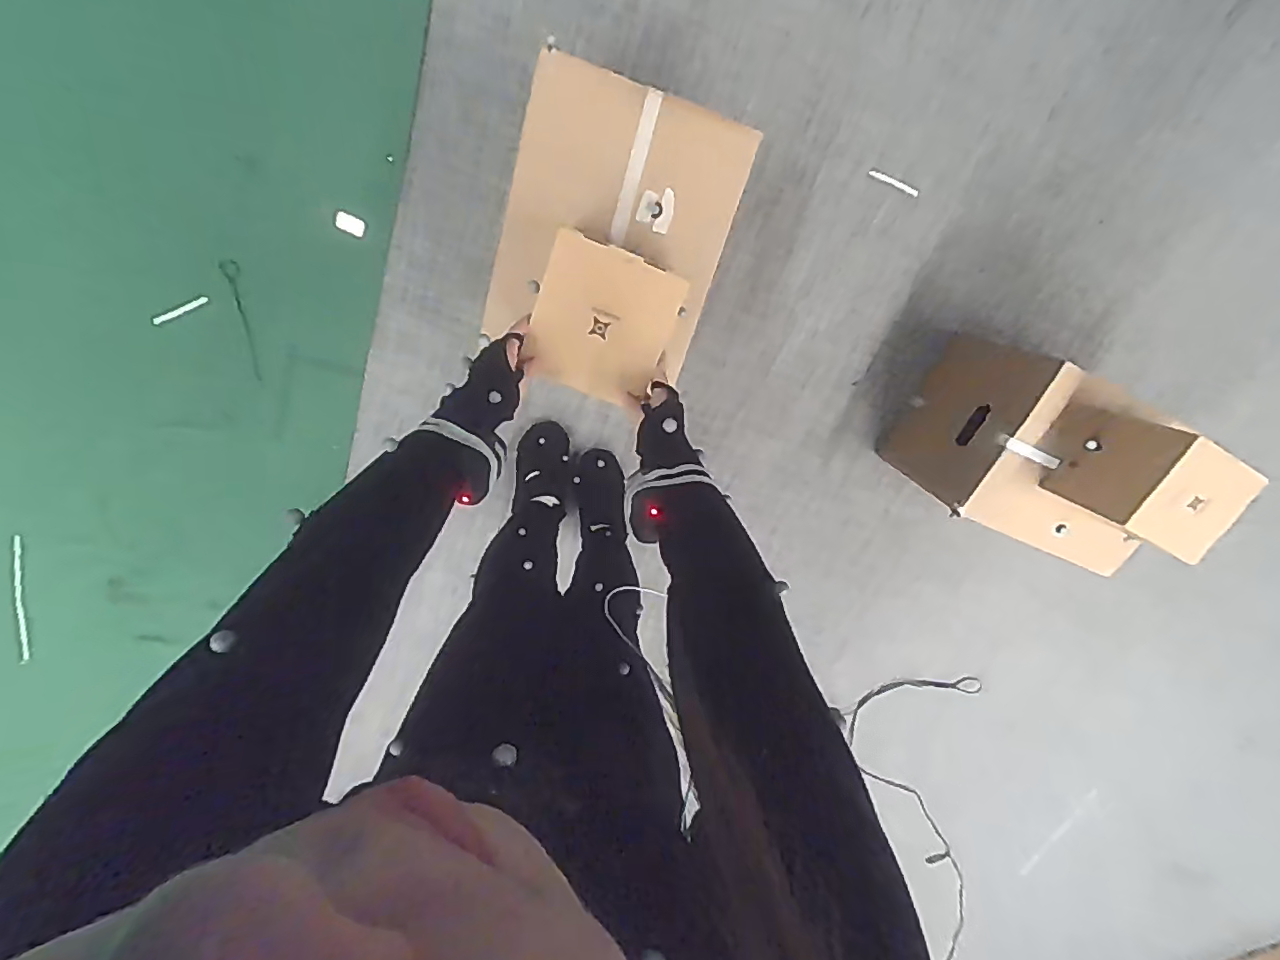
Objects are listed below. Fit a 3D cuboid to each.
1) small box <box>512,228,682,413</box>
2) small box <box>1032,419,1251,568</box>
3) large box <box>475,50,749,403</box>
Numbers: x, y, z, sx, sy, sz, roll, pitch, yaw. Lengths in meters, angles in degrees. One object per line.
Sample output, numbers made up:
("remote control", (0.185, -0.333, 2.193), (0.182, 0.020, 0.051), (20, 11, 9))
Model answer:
("small box", (-0.058, -0.216, 0.731), (0.168, 0.176, 0.179), (19, 109, -11))
("small box", (0.834, 0.015, 0.917), (0.179, 0.176, 0.168), (25, 106, -15))
("large box", (-0.062, -0.392, 0.923), (0.320, 0.320, 0.408), (16, 110, -12))
